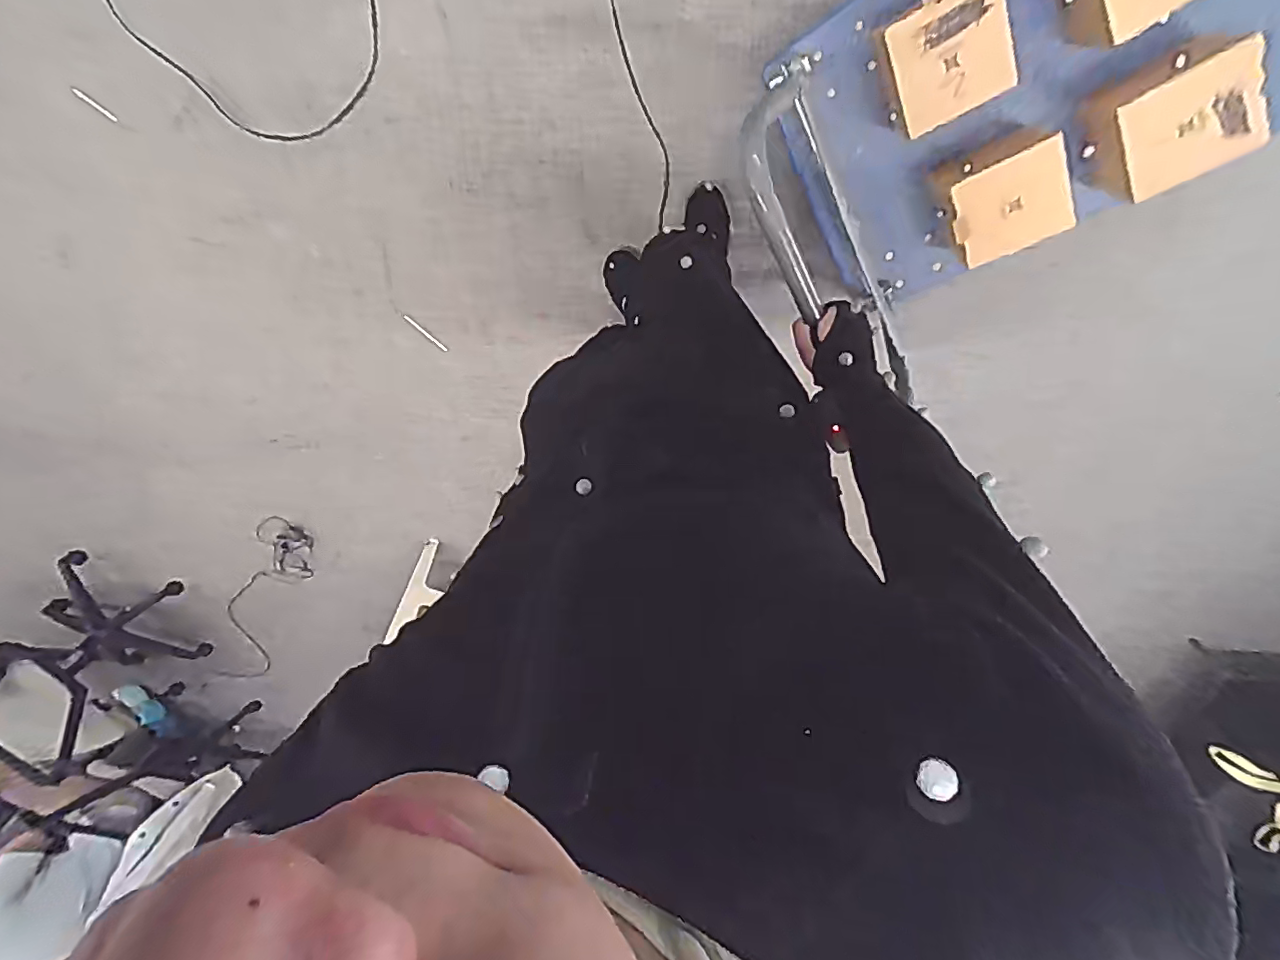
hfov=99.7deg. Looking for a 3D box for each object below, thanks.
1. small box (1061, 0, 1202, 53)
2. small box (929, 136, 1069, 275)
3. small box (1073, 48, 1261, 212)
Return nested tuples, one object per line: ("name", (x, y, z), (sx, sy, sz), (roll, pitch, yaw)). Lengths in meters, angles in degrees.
("small box", (0.764, -0.790, 0.820), (0.179, 0.176, 0.168), (-24, 118, 29))
("small box", (0.682, -0.532, 1.041), (0.179, 0.176, 0.168), (-18, 120, 27))
("small box", (0.894, -0.600, 0.930), (0.179, 0.176, 0.168), (-21, 118, 28))
